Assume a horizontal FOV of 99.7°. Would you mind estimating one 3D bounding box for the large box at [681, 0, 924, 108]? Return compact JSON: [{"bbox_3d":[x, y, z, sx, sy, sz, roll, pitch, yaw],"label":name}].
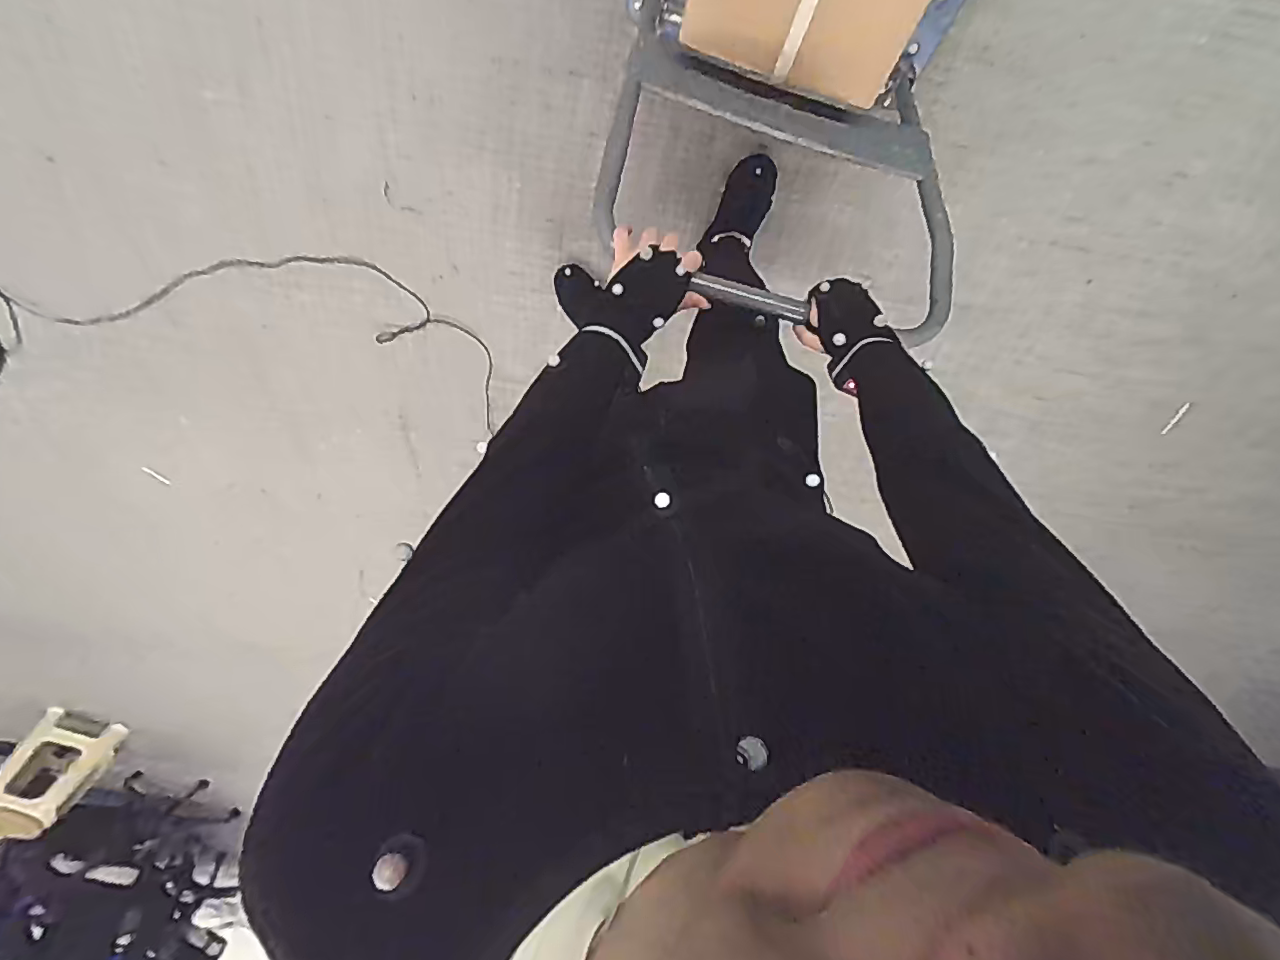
[{"bbox_3d":[0.267,-0.833,0.744,0.320,0.320,0.408,13,144,-9],"label":"large box"}]
